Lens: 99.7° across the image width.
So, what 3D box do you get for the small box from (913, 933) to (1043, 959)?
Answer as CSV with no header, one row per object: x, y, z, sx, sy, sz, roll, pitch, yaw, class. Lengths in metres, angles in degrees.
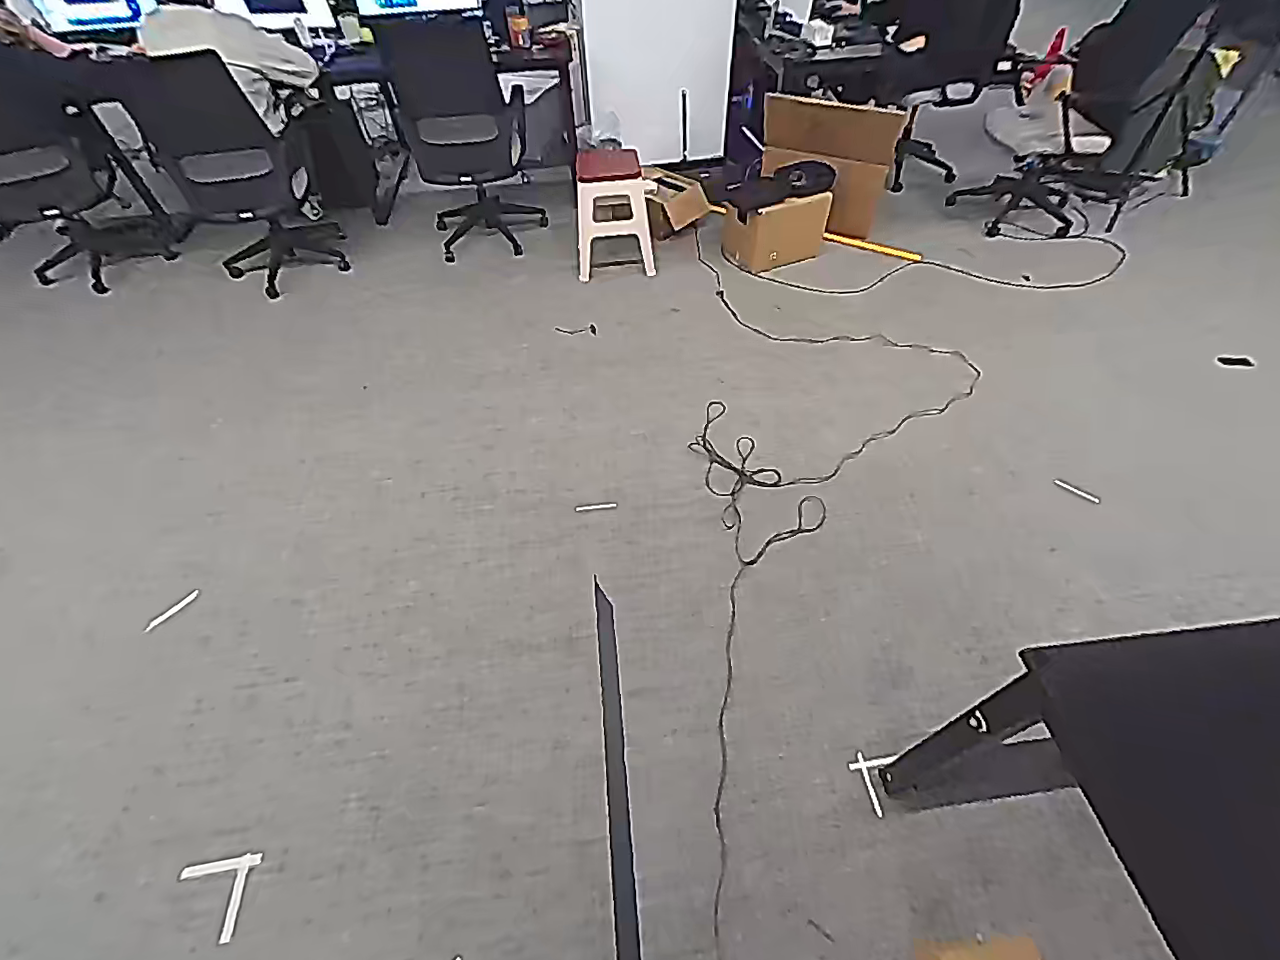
0.643,0.952,0.995,0.179,0.176,0.168,-8,51,-2,small box
